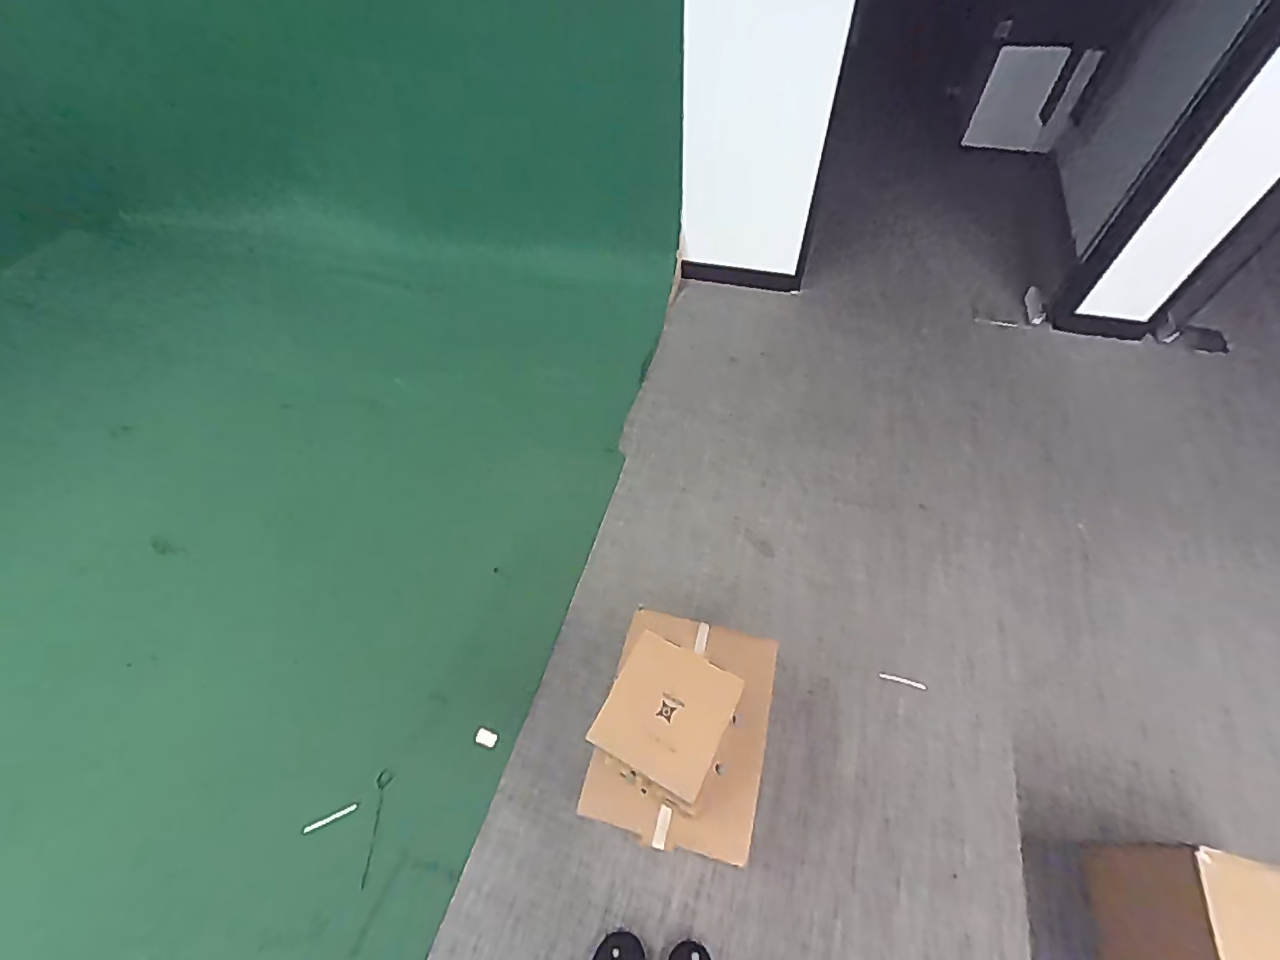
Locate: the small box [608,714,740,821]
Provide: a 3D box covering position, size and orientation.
[{"bbox_3d":[0.060,0.463,0.942,0.168,0.176,0.179,21,61,17],"label":"small box"}]

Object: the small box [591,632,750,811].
[{"bbox_3d":[0.048,0.365,0.813,0.168,0.176,0.179,23,62,19],"label":"small box"}]

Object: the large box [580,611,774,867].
[{"bbox_3d":[0.094,0.557,1.170,0.320,0.320,0.408,11,57,11],"label":"large box"}]
